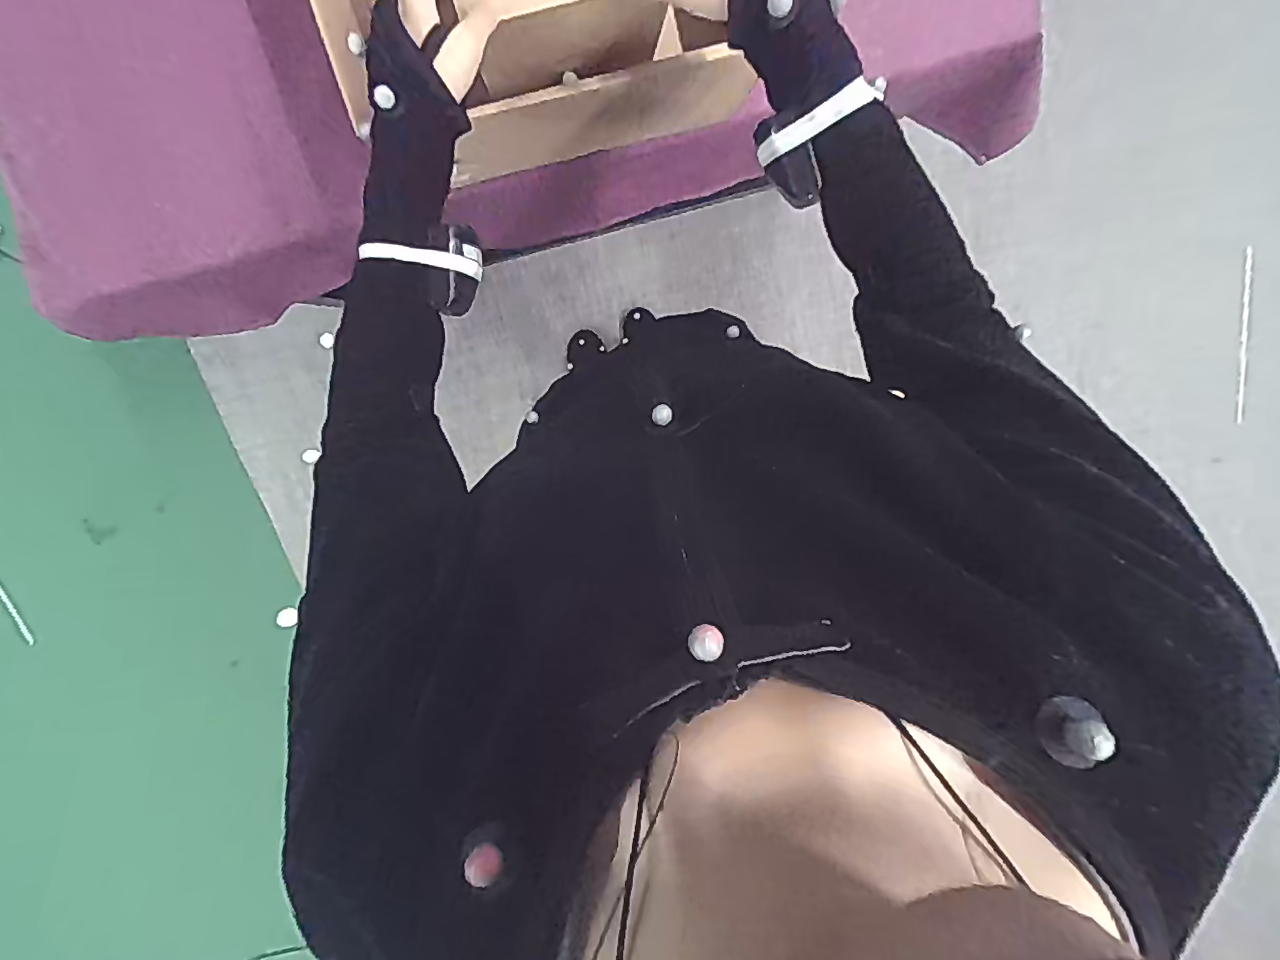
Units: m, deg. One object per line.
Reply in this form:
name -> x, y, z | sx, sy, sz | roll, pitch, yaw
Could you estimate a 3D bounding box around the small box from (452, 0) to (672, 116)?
small box -> -0.081, -0.447, 0.454 | 0.168, 0.176, 0.179 | -15, 109, -1
